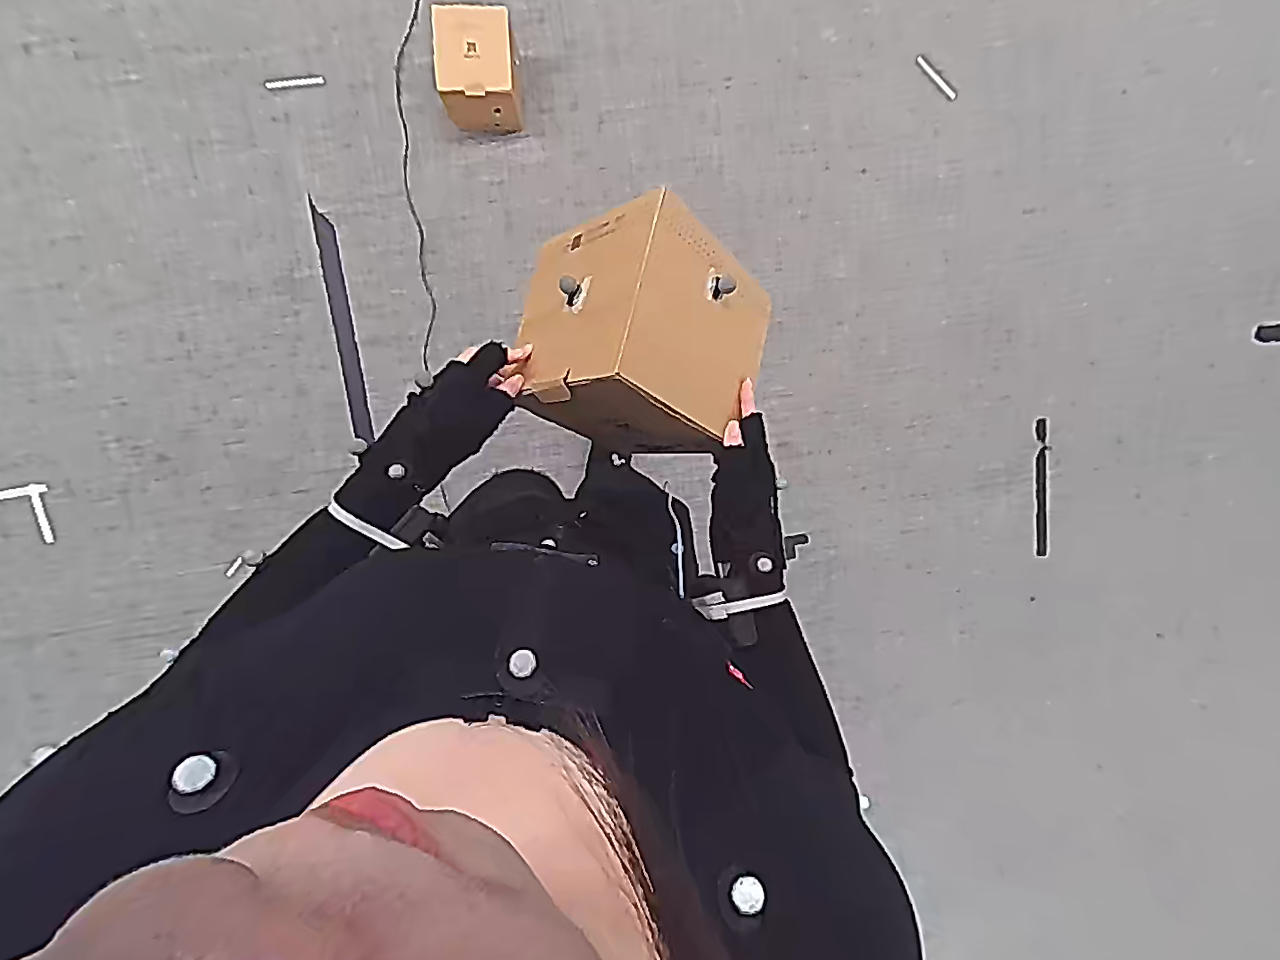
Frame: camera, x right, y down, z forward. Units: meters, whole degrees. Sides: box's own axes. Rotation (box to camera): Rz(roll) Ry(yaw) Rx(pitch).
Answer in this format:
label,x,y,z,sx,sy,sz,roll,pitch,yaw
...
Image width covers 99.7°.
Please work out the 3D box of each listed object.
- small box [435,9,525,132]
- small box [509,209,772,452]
label,x,y,z,sx,sy,sz,roll,pitch,yaw
small box,-0.365,-0.945,1.263,0.168,0.176,0.179,-1,97,-3
small box,0.007,-0.134,0.528,0.179,0.168,0.176,23,76,-44
